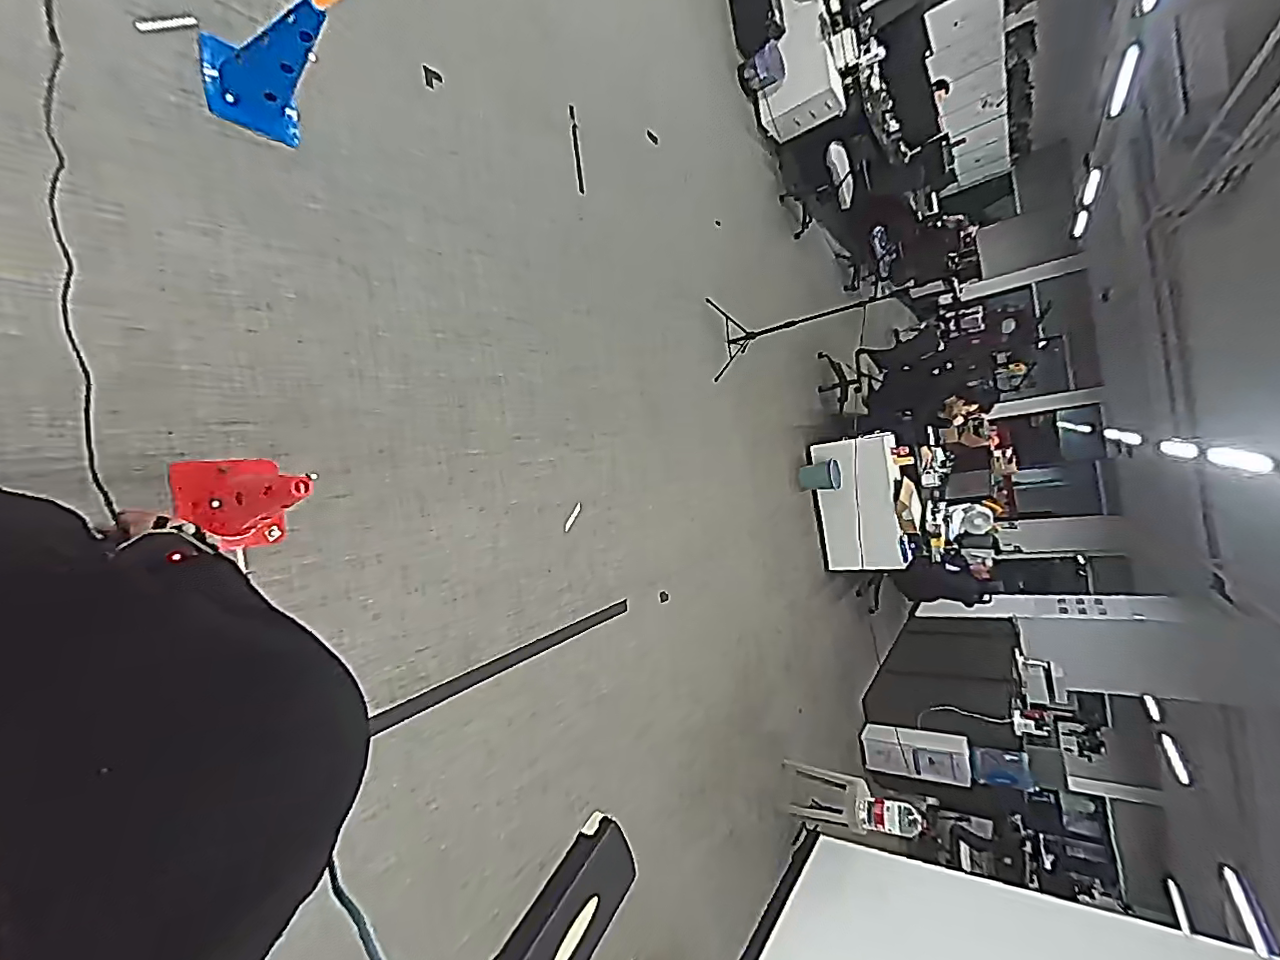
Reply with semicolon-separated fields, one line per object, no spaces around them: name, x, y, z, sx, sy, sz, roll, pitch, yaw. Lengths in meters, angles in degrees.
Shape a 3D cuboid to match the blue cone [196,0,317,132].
blue cone;-0.832;-0.994;1.231;0.193;0.380;0.192;-3;85;-55
